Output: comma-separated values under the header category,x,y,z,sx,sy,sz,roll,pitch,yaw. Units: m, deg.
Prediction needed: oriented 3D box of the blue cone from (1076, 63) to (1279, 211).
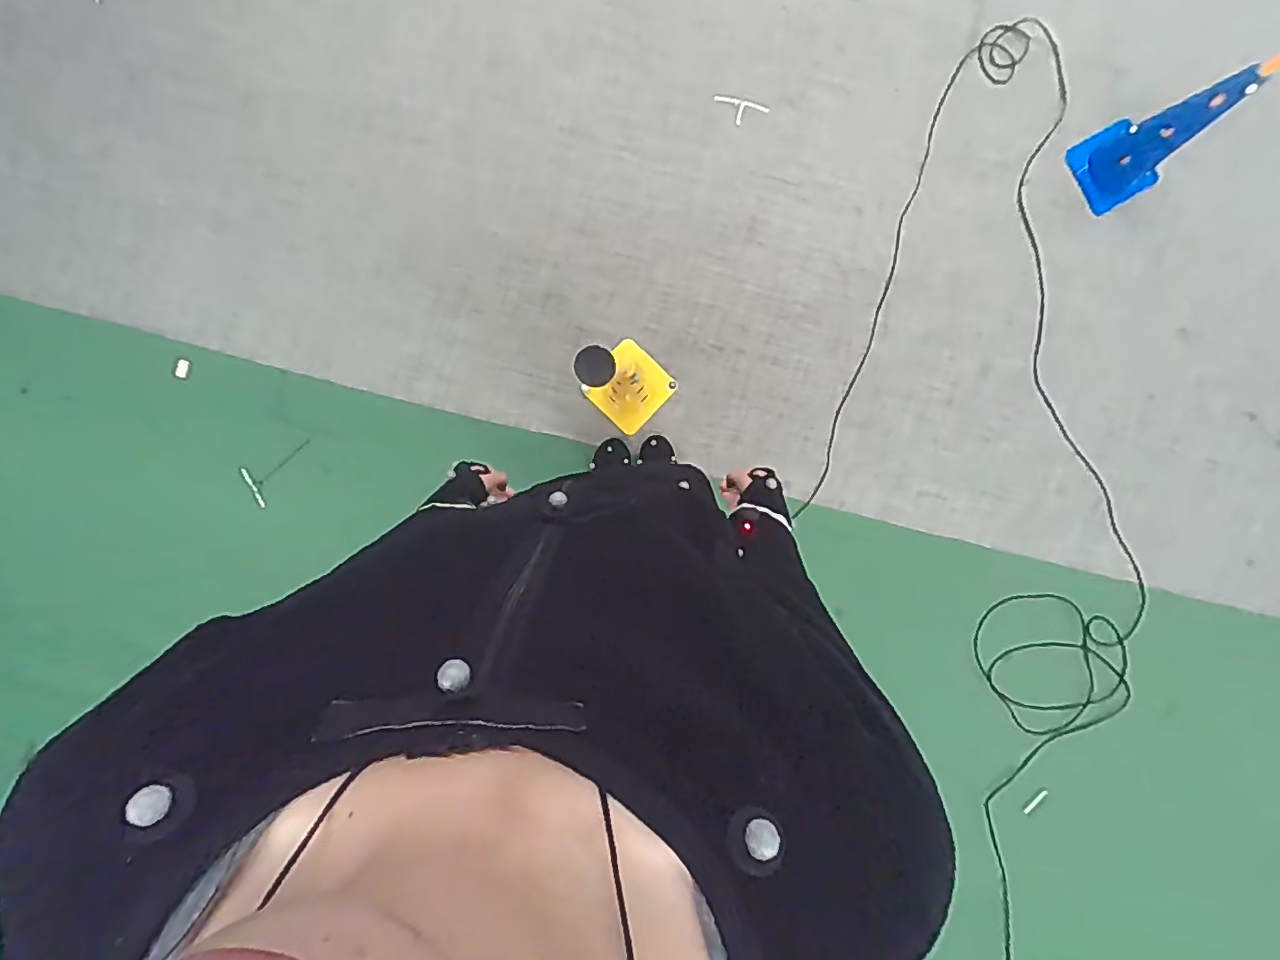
category,x,y,z,sx,sy,sz,roll,pitch,yaw
blue cone,1.282,-0.841,1.284,0.193,0.380,0.192,-31,92,-1
